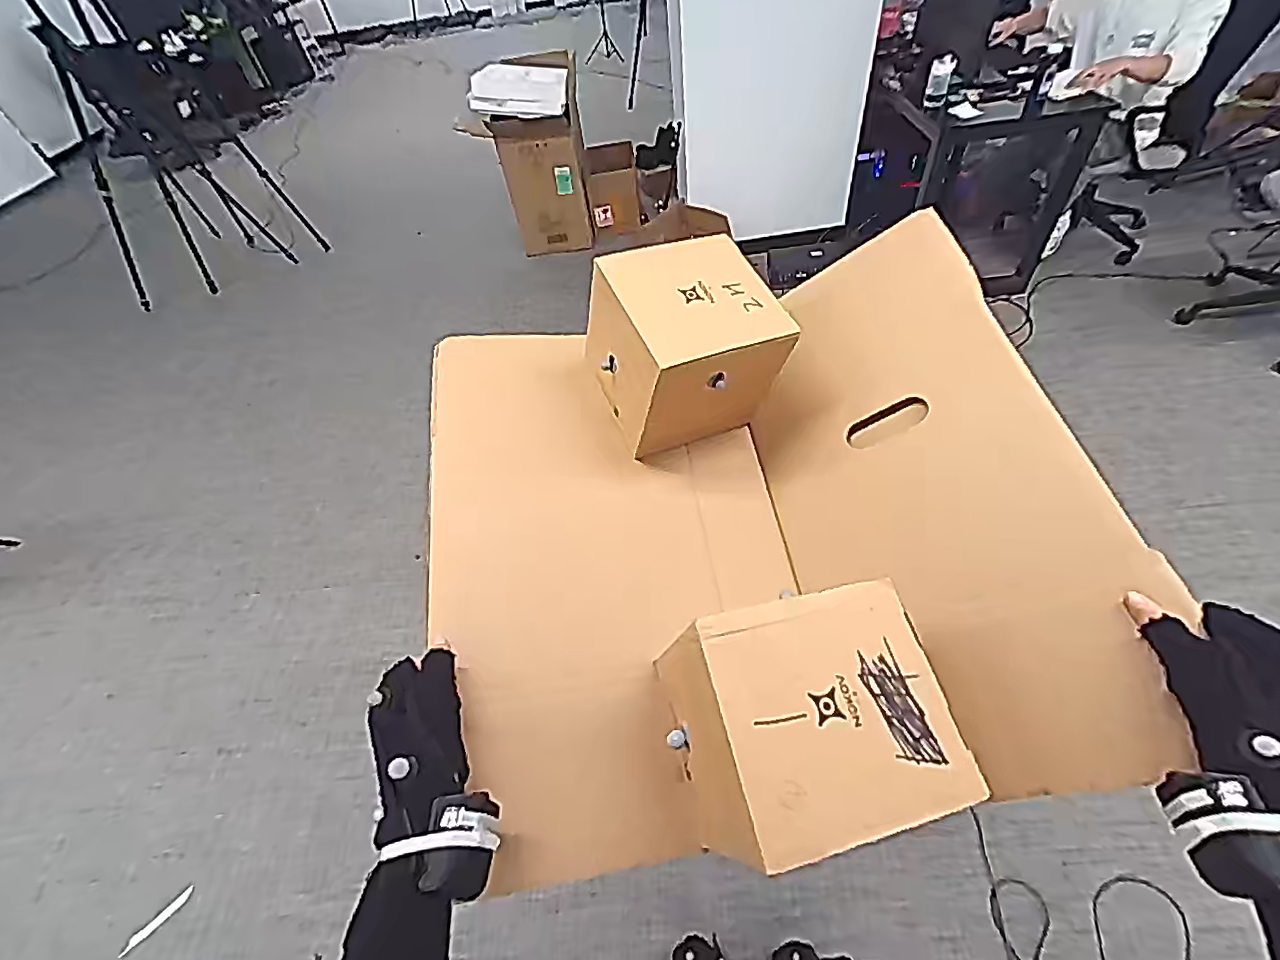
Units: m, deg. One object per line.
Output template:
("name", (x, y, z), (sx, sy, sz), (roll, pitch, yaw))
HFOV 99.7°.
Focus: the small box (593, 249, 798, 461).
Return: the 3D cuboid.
("small box", (0.050, -0.145, 0.651), (0.179, 0.176, 0.168), (-18, 65, -20))
